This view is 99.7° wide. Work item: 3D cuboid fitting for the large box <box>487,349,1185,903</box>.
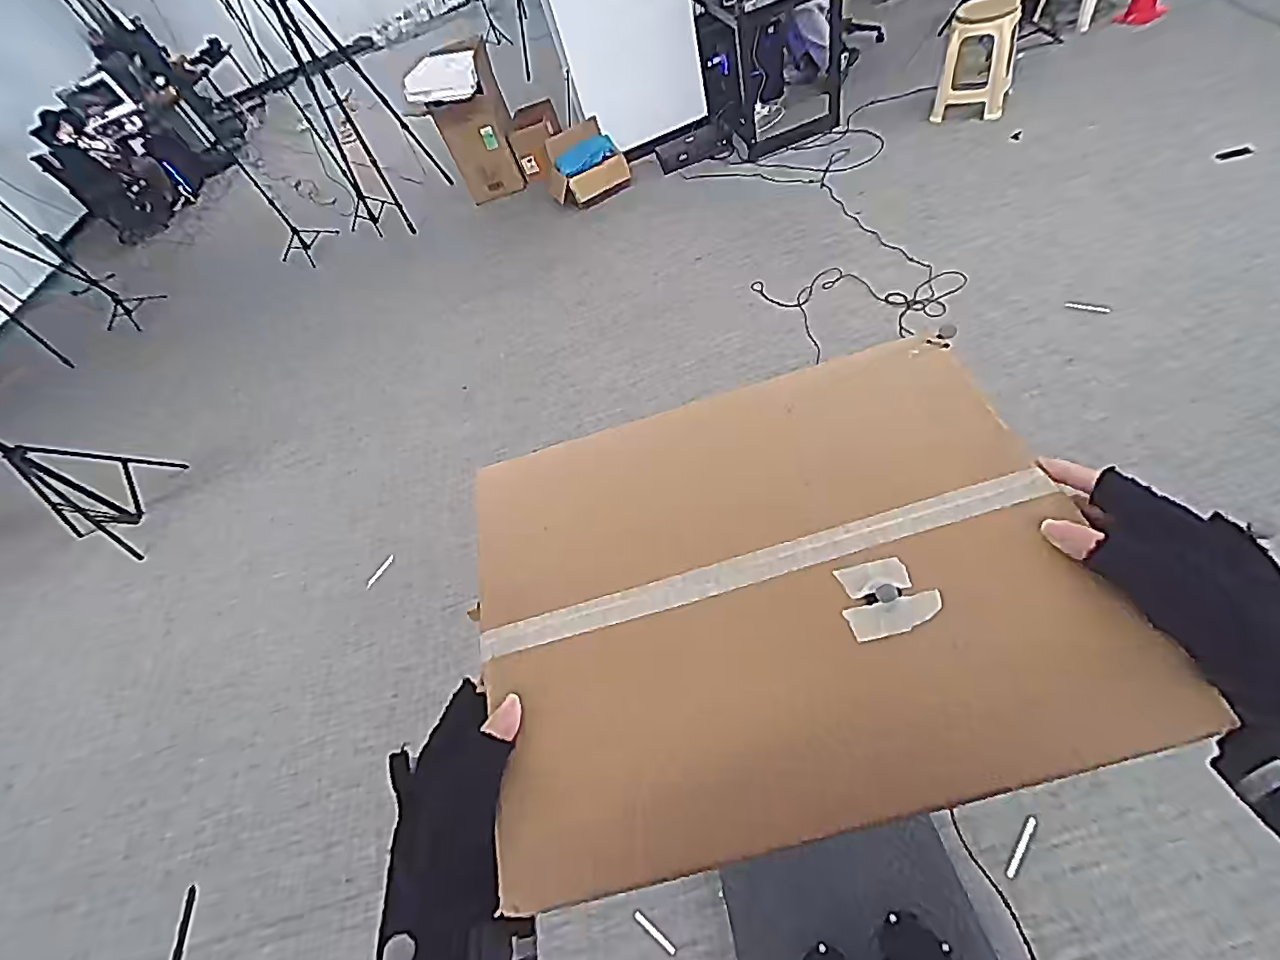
[{"bbox_3d":[0.113,0.144,0.514,0.408,0.320,0.320,-17,57,3],"label":"large box"}]
